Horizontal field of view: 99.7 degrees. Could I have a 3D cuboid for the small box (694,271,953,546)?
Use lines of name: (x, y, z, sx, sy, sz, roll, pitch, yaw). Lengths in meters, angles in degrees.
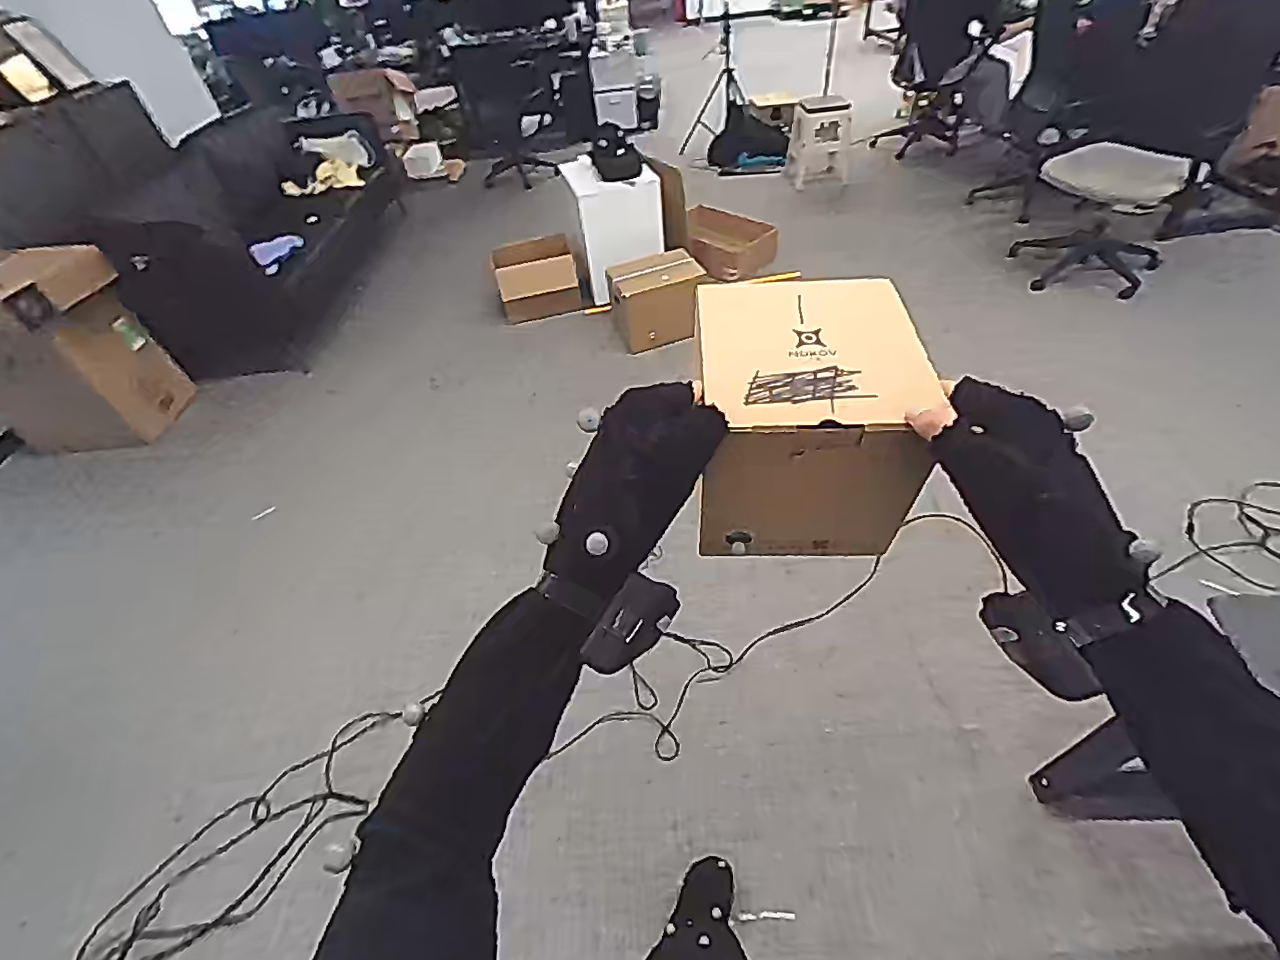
small box: (0.132, -0.056, 0.468, 0.168, 0.176, 0.179, 0, 51, 4)
